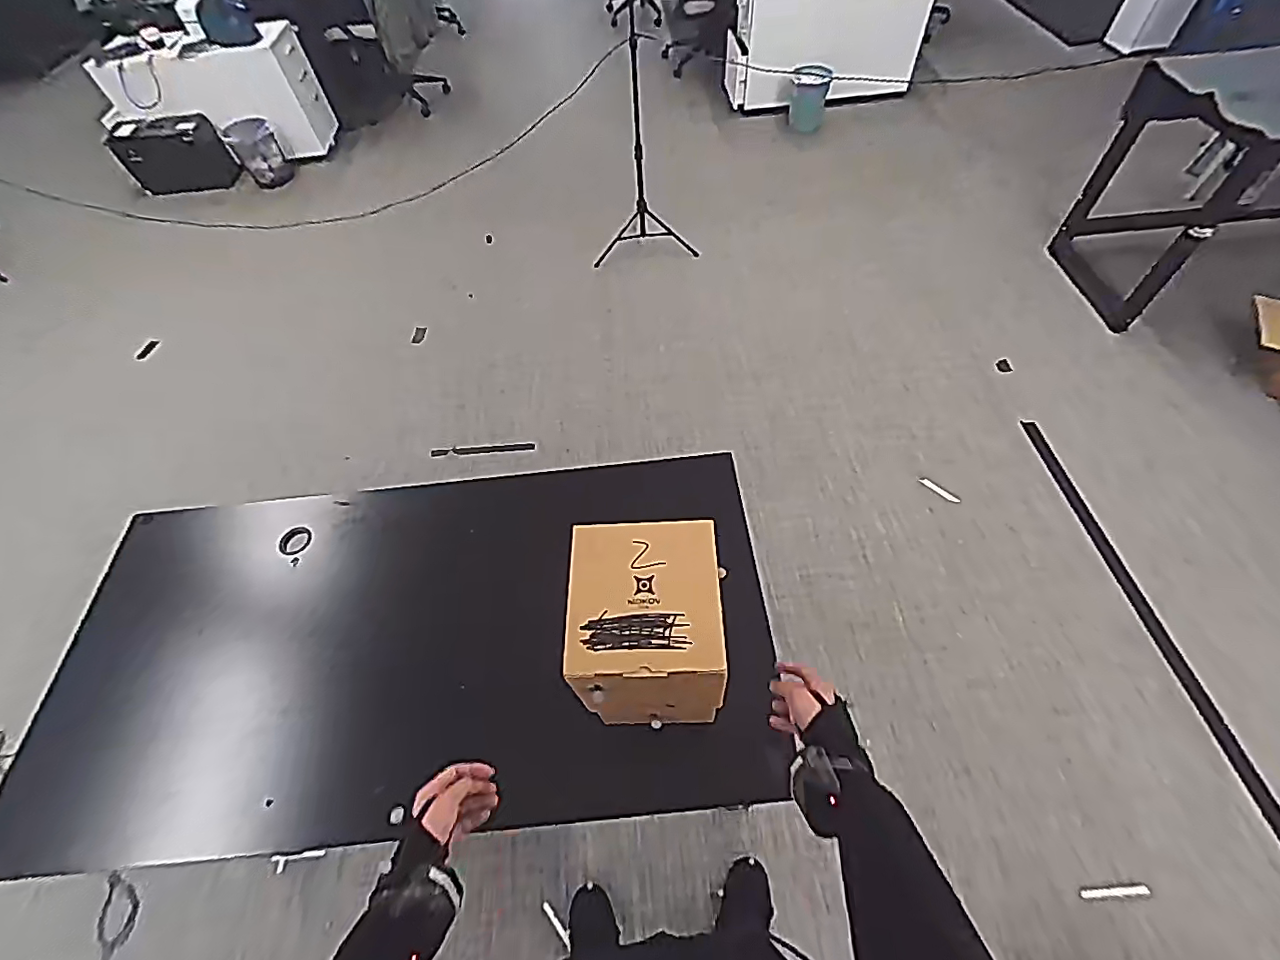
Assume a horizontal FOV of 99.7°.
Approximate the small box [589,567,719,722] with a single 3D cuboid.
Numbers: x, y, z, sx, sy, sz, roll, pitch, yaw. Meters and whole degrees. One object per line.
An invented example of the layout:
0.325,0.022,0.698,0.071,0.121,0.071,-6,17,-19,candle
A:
0.024,0.242,0.786,0.168,0.176,0.179,-2,56,4,small box
